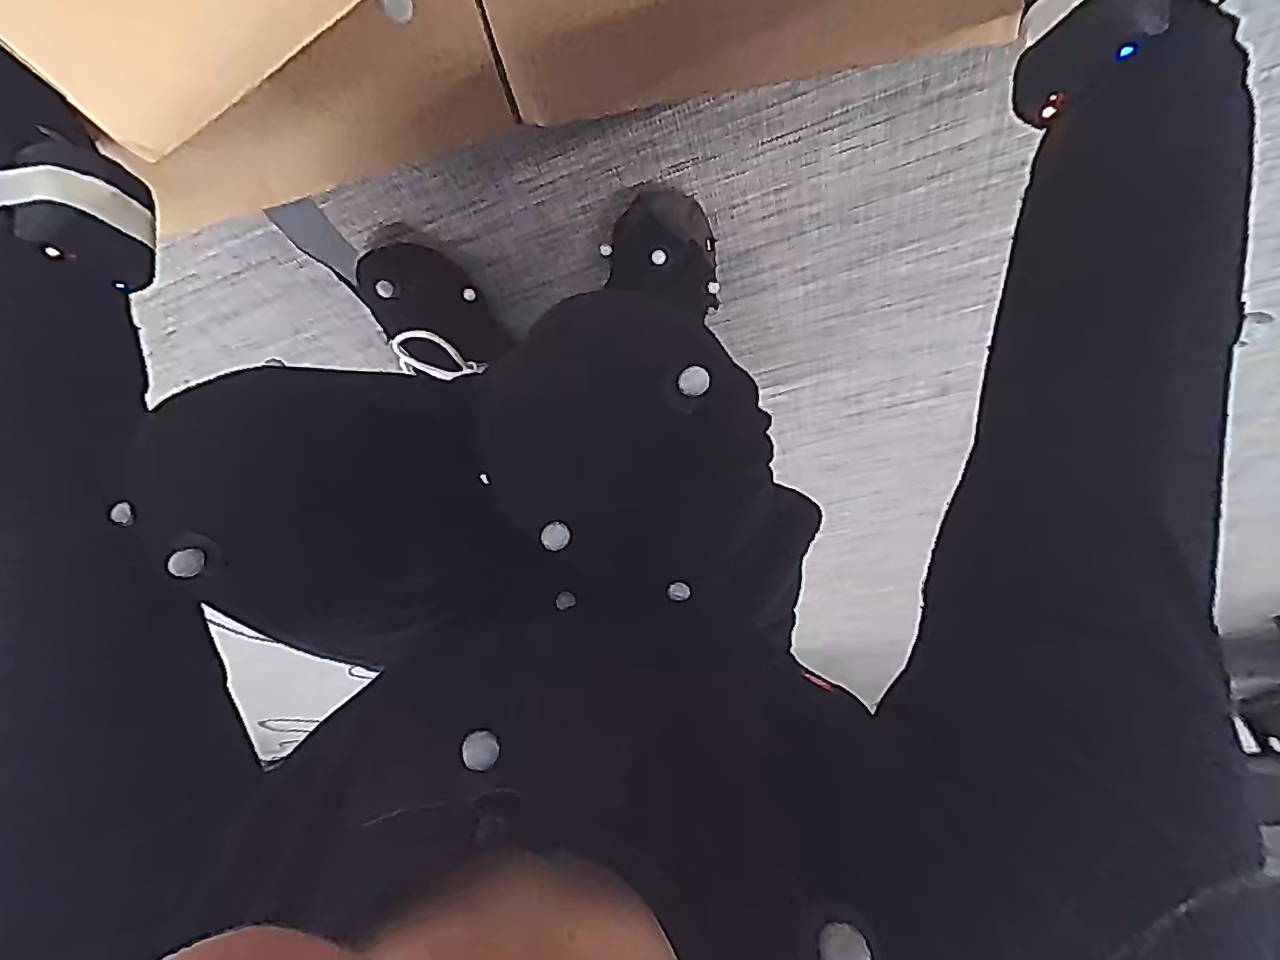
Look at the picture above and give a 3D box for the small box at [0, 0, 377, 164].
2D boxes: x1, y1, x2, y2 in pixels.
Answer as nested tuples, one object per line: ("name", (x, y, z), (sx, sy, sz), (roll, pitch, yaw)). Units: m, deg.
("small box", (-0.192, -0.276, 0.211), (0.179, 0.176, 0.168), (-25, 140, 12))
